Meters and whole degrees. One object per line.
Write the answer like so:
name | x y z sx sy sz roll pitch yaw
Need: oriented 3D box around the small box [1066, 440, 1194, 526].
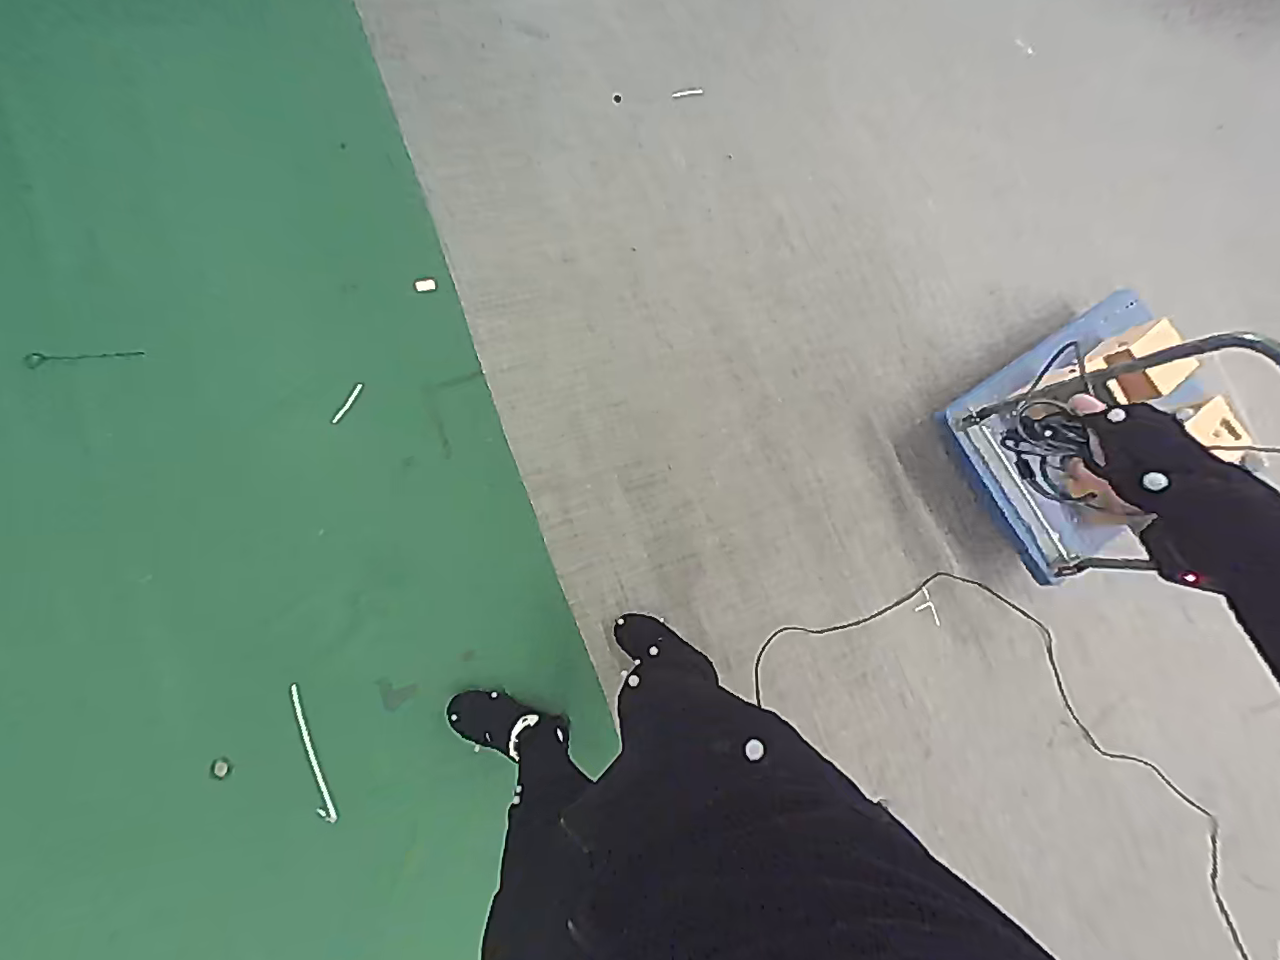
small box | 1.338 0.013 1.487 0.179 0.176 0.168 -30 88 -13

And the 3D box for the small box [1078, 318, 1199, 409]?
small box | 1.418 -0.327 1.555 0.179 0.176 0.168 -35 90 -14

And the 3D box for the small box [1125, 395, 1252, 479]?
small box | 1.561 -0.112 1.549 0.179 0.176 0.168 -33 88 -13
